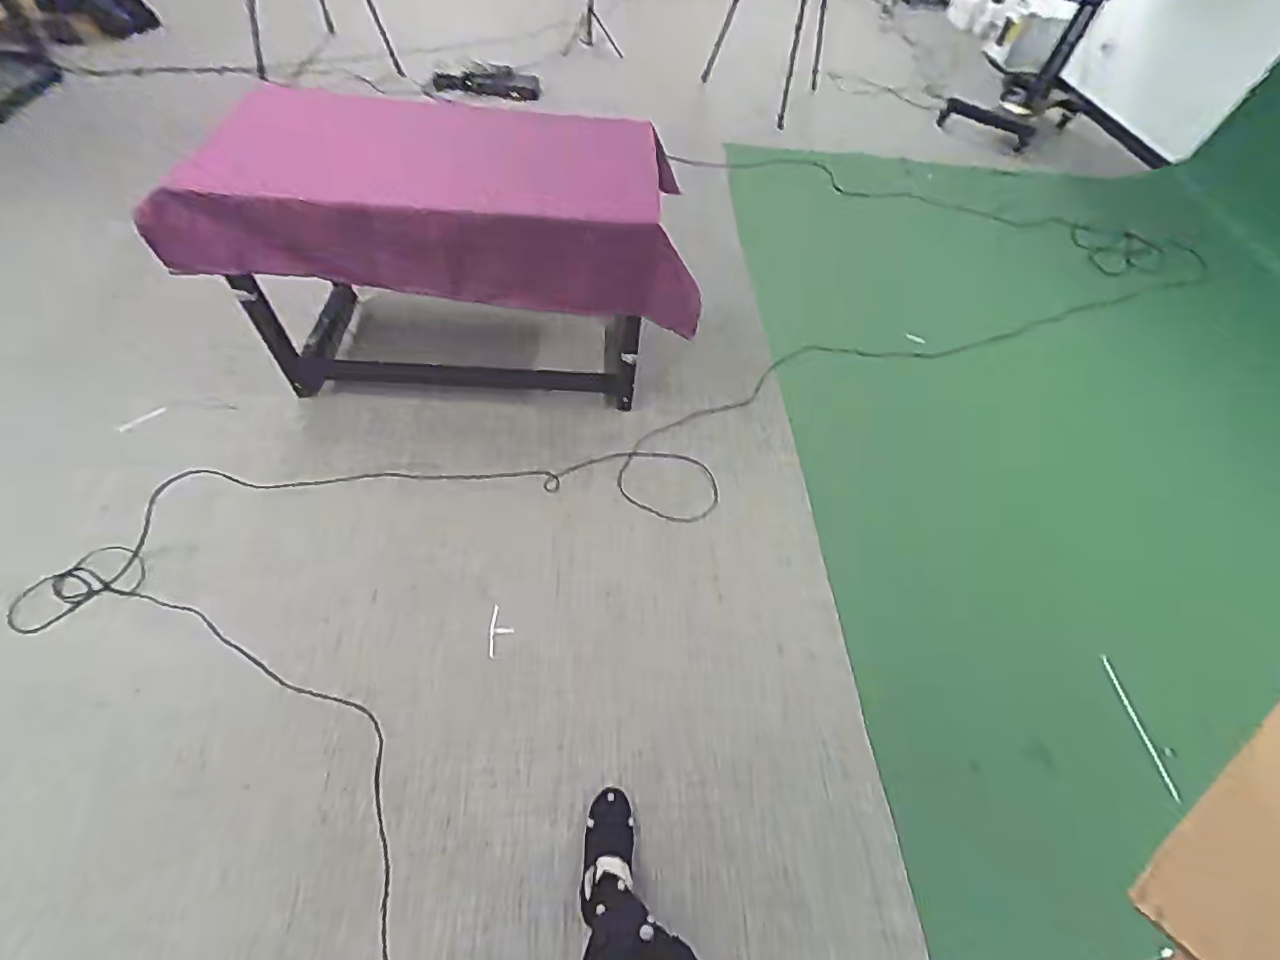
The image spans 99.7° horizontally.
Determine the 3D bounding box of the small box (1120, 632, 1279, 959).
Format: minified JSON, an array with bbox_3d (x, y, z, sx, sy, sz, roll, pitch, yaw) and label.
[{"bbox_3d":[0.343,0.182,0.190,0.176,0.179,0.168,42,88,-12],"label":"small box"}]
